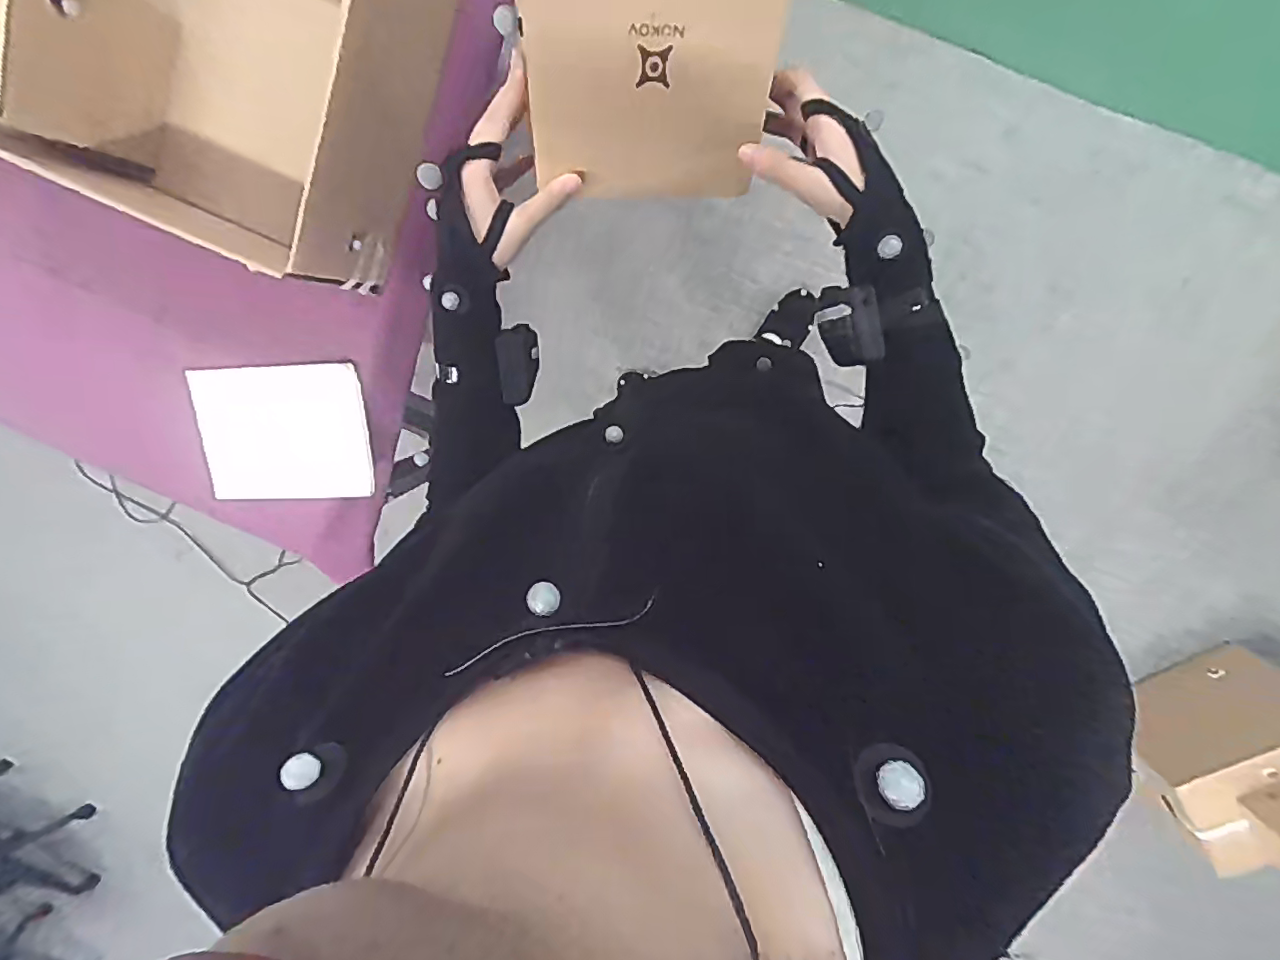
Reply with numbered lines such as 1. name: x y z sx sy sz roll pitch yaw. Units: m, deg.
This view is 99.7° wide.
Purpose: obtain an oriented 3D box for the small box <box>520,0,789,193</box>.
1. small box: -0.002 -0.335 0.392 0.168 0.176 0.179 -5 140 -8
